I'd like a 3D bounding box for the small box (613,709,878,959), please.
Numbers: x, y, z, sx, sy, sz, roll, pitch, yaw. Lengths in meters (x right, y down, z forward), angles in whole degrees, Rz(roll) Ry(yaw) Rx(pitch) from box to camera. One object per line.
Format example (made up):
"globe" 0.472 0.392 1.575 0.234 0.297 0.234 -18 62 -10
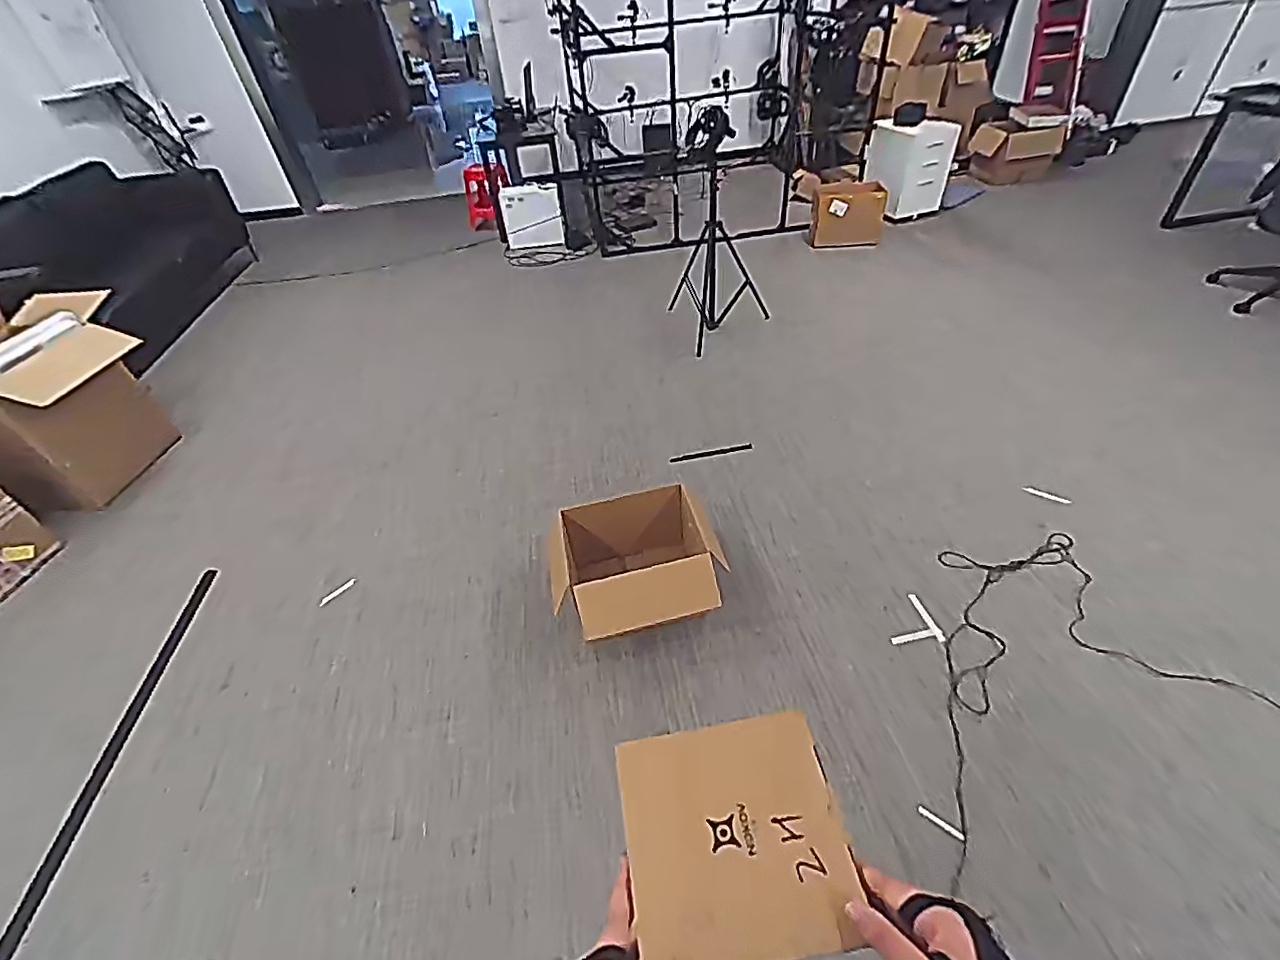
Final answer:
"small box" 0.078 0.329 0.487 0.179 0.176 0.168 -8 50 -4
